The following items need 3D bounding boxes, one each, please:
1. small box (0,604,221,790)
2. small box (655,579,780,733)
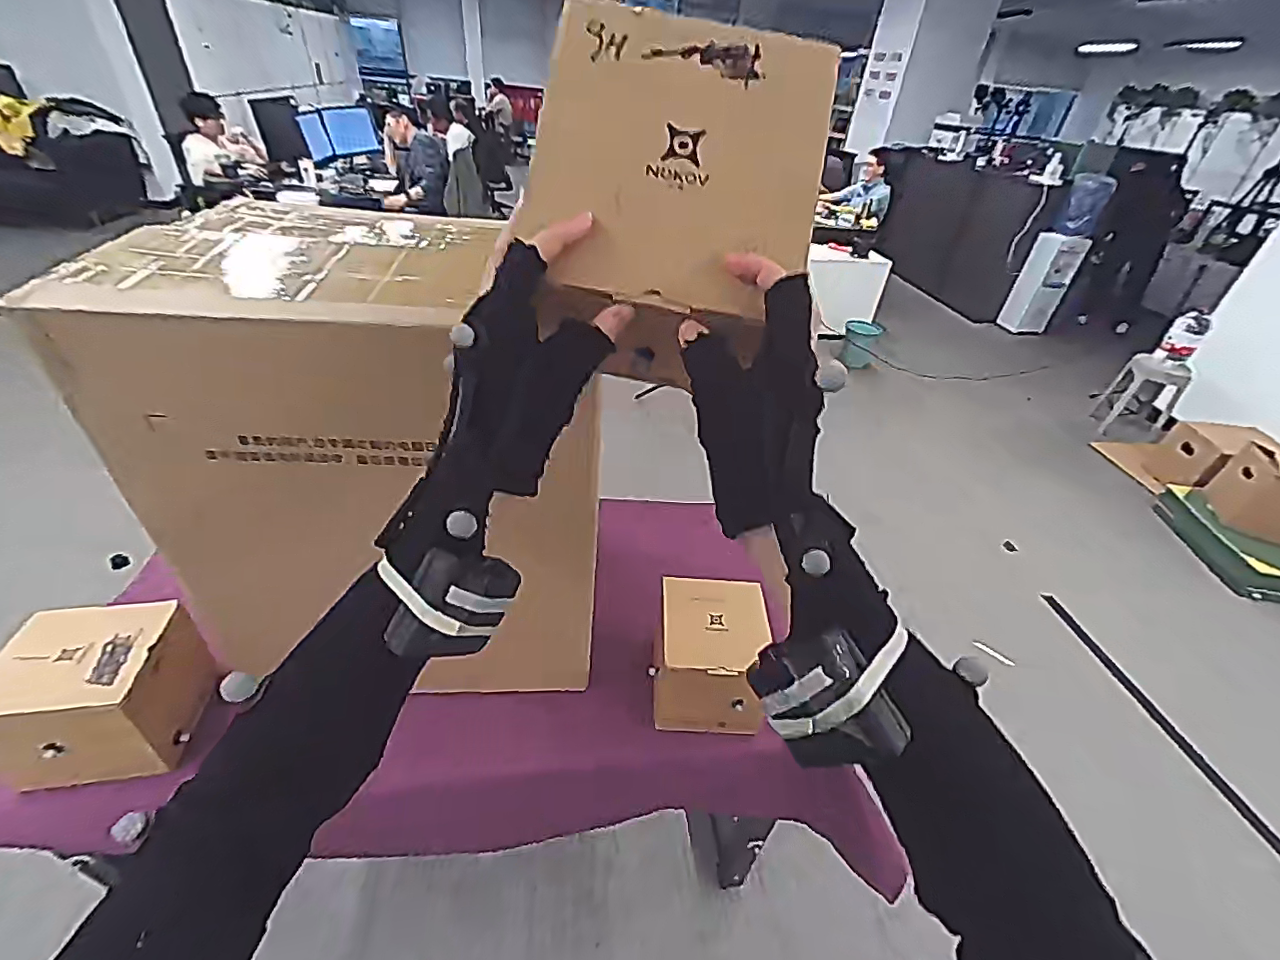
[{"bbox_3d":[-0.724,0.293,0.741,0.179,0.176,0.168,-2,36,-13],"label":"small box"},{"bbox_3d":[0.115,0.286,0.876,0.168,0.176,0.179,4,35,-3],"label":"small box"}]
